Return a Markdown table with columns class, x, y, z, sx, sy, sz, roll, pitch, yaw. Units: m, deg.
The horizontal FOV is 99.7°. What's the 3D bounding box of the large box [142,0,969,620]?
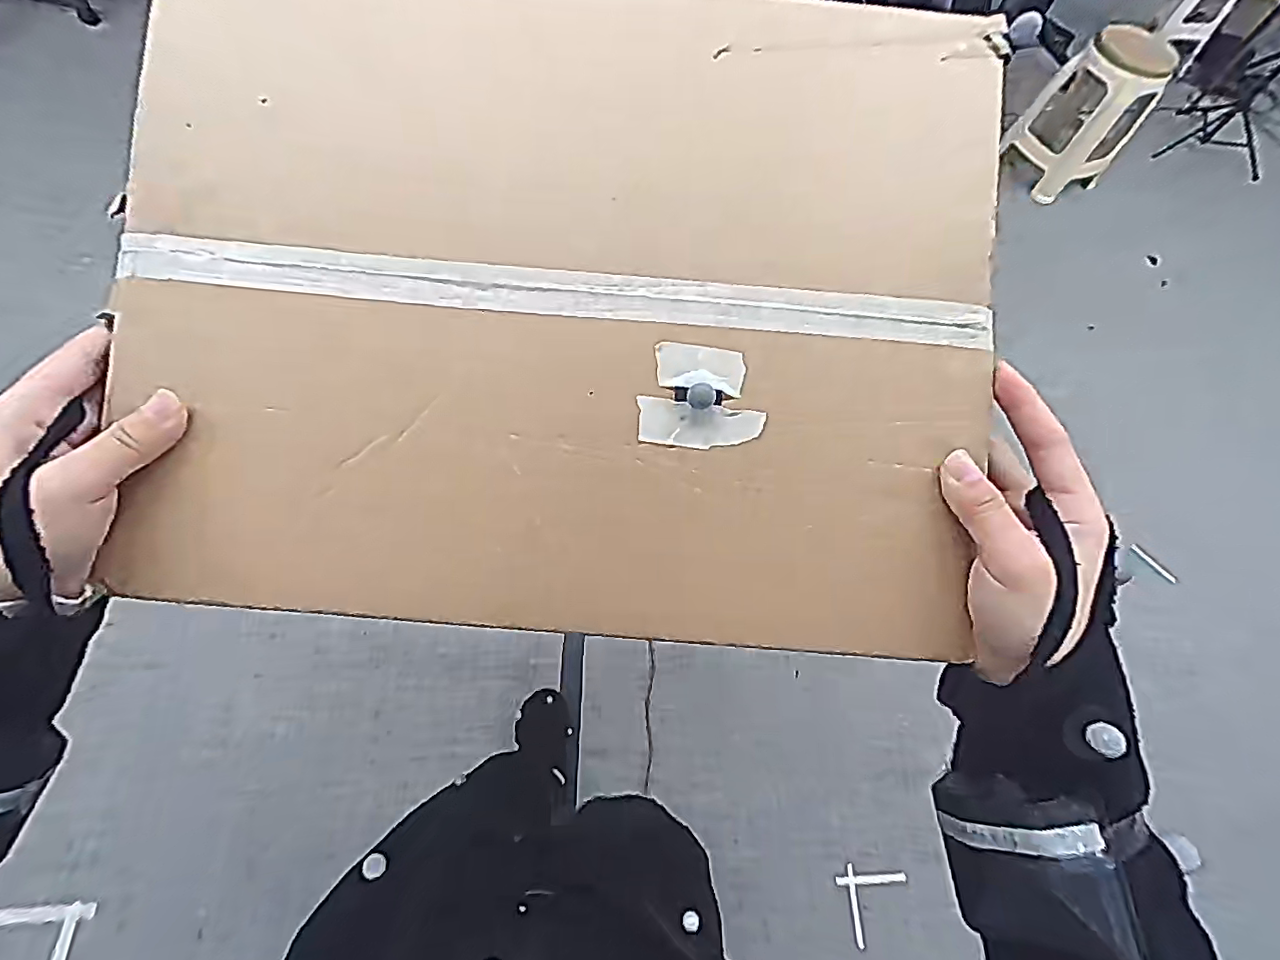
| class | x | y | z | sx | sy | sz | roll | pitch | yaw |
| --- | --- | --- | --- | --- | --- | --- | --- | --- | --- |
| large box | -0.039 | -0.087 | 0.422 | 0.408 | 0.320 | 0.320 | 5 | 88 | -1 |
